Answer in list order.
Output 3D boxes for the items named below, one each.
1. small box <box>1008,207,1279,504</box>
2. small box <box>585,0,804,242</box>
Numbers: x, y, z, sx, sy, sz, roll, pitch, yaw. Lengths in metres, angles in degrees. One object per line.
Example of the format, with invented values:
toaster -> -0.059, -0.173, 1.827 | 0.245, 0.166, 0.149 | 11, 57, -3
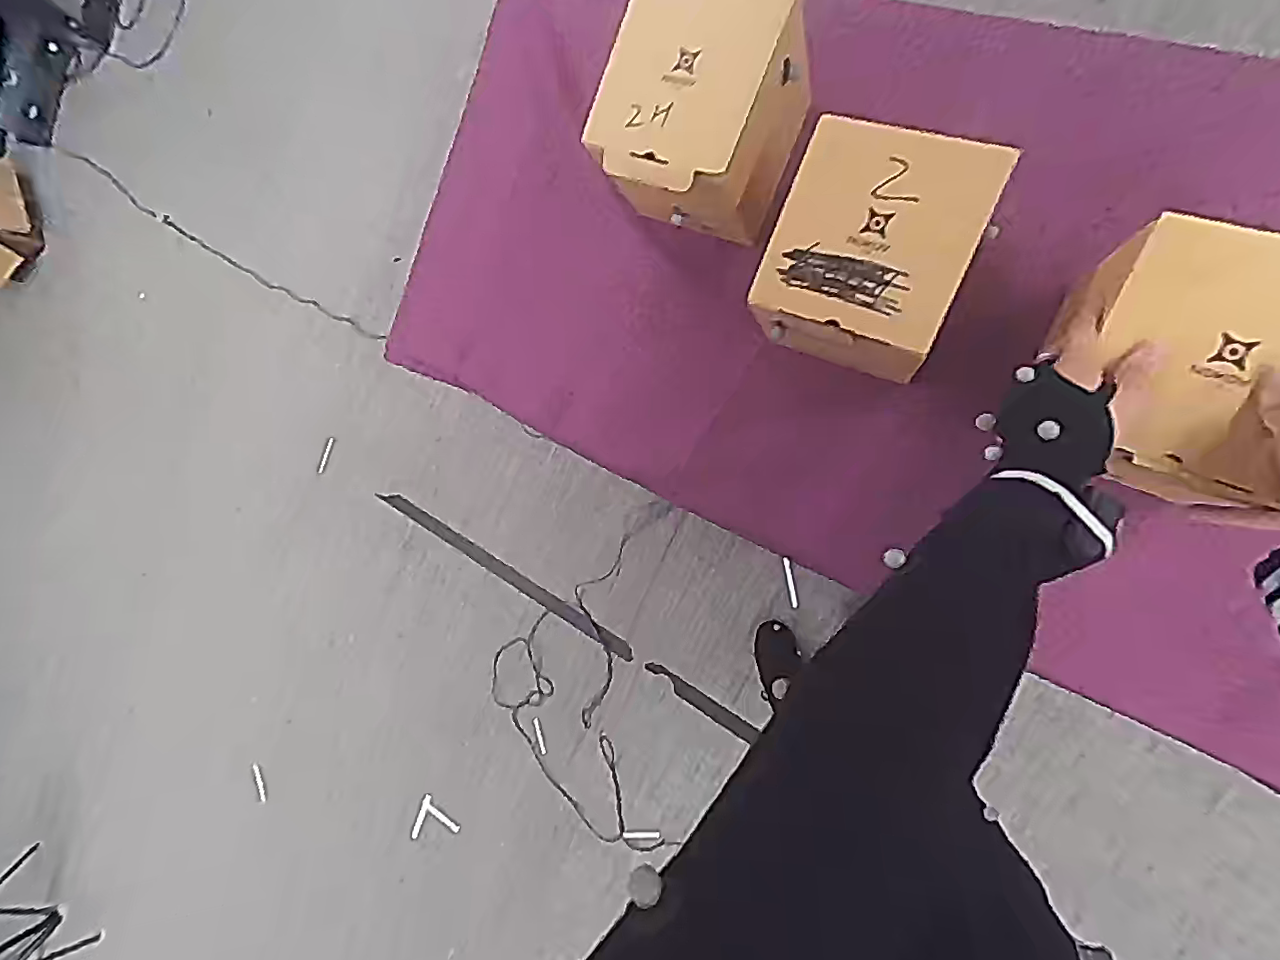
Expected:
small box -> 0.454, -0.095, 0.464 | 0.168, 0.176, 0.179 | 25, 101, 19
small box -> 0.071, -0.397, 0.597 | 0.168, 0.176, 0.179 | 25, 100, 19
